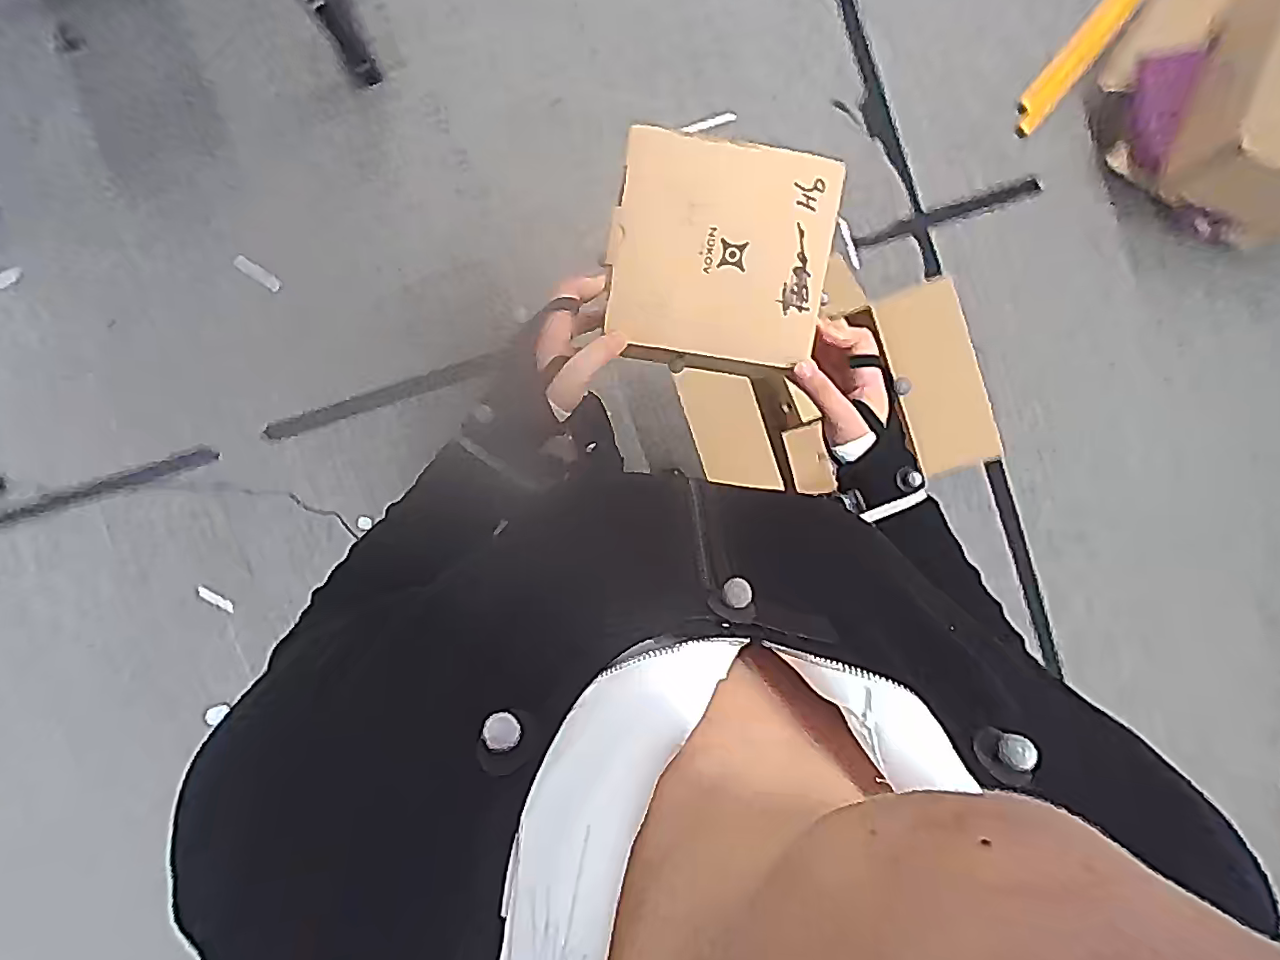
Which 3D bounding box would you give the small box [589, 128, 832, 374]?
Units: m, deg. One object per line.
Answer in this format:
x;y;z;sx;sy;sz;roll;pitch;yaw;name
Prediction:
0.053;-0.194;0.511;0.179;0.176;0.168;7;98;-3;small box
